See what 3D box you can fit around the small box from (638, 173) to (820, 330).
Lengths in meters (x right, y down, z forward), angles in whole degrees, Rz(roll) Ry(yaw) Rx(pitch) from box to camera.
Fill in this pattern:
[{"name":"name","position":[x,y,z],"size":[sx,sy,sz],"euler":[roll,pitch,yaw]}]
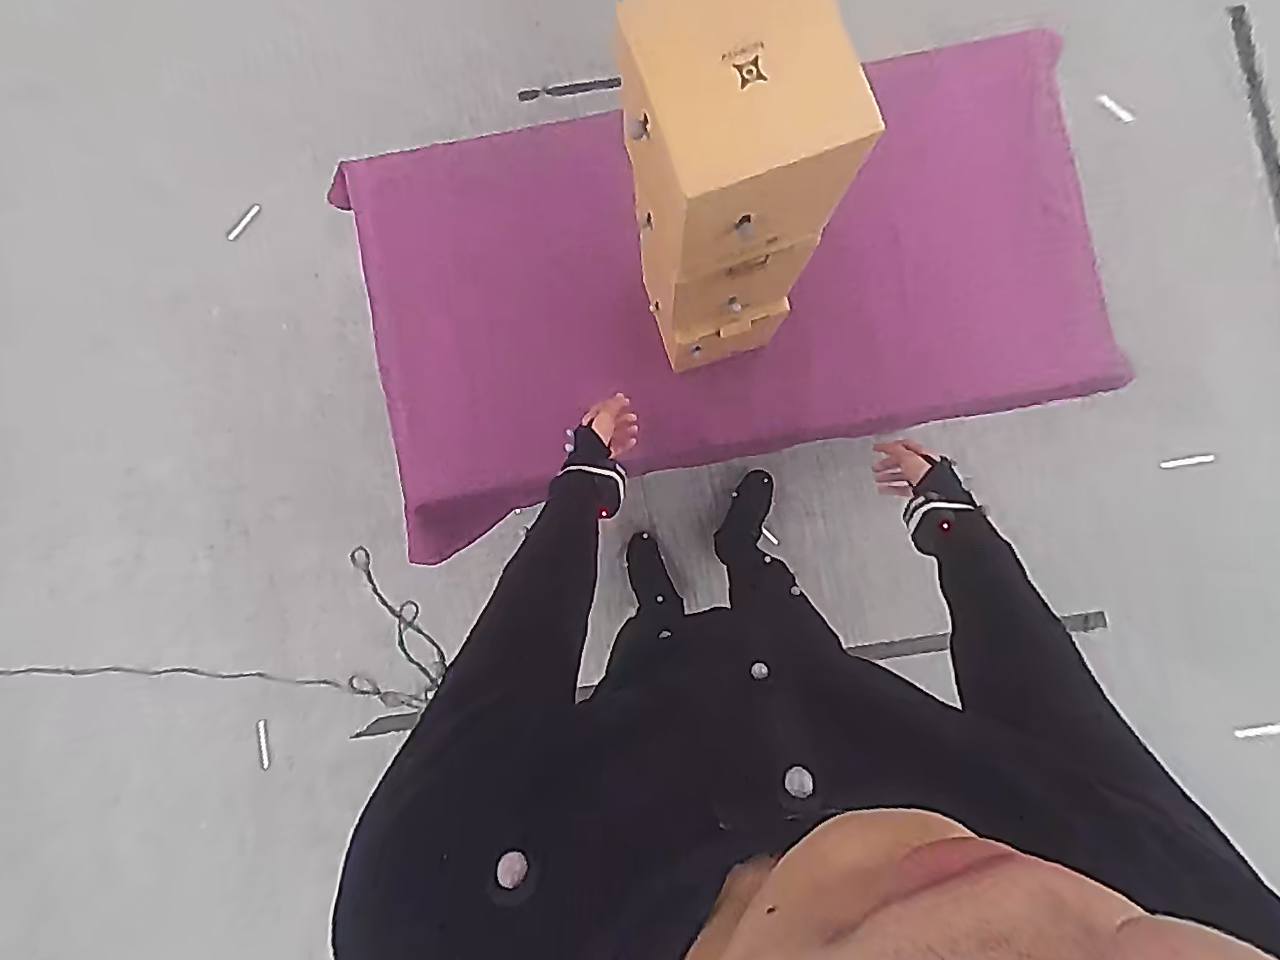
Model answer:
[{"name":"small box","position":[0.095,-0.311,0.665],"size":[0.168,0.176,0.179],"euler":[-16,87,1]}]

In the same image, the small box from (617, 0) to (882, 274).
[{"name":"small box","position":[0.088,-0.316,0.503],"size":[0.168,0.176,0.179],"euler":[-19,85,1]}]
